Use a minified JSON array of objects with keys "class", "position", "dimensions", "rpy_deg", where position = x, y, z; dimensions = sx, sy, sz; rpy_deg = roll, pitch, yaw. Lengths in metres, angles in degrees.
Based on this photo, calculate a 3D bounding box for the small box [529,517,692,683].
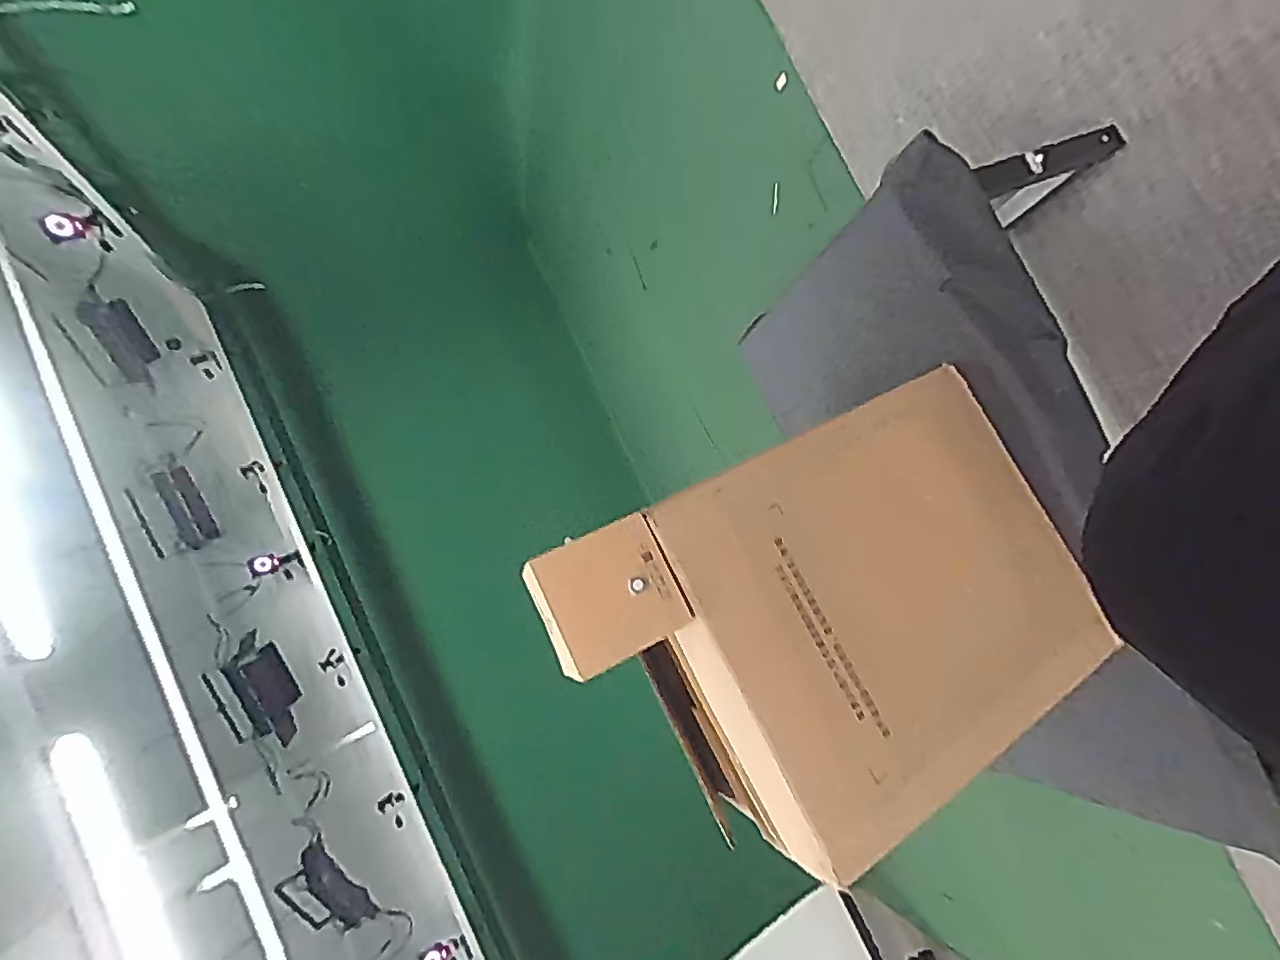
[{"class":"small box","position":[-0.047,0.171,0.782],"dimensions":[0.168,0.176,0.179],"rpy_deg":[64,159,8]}]
